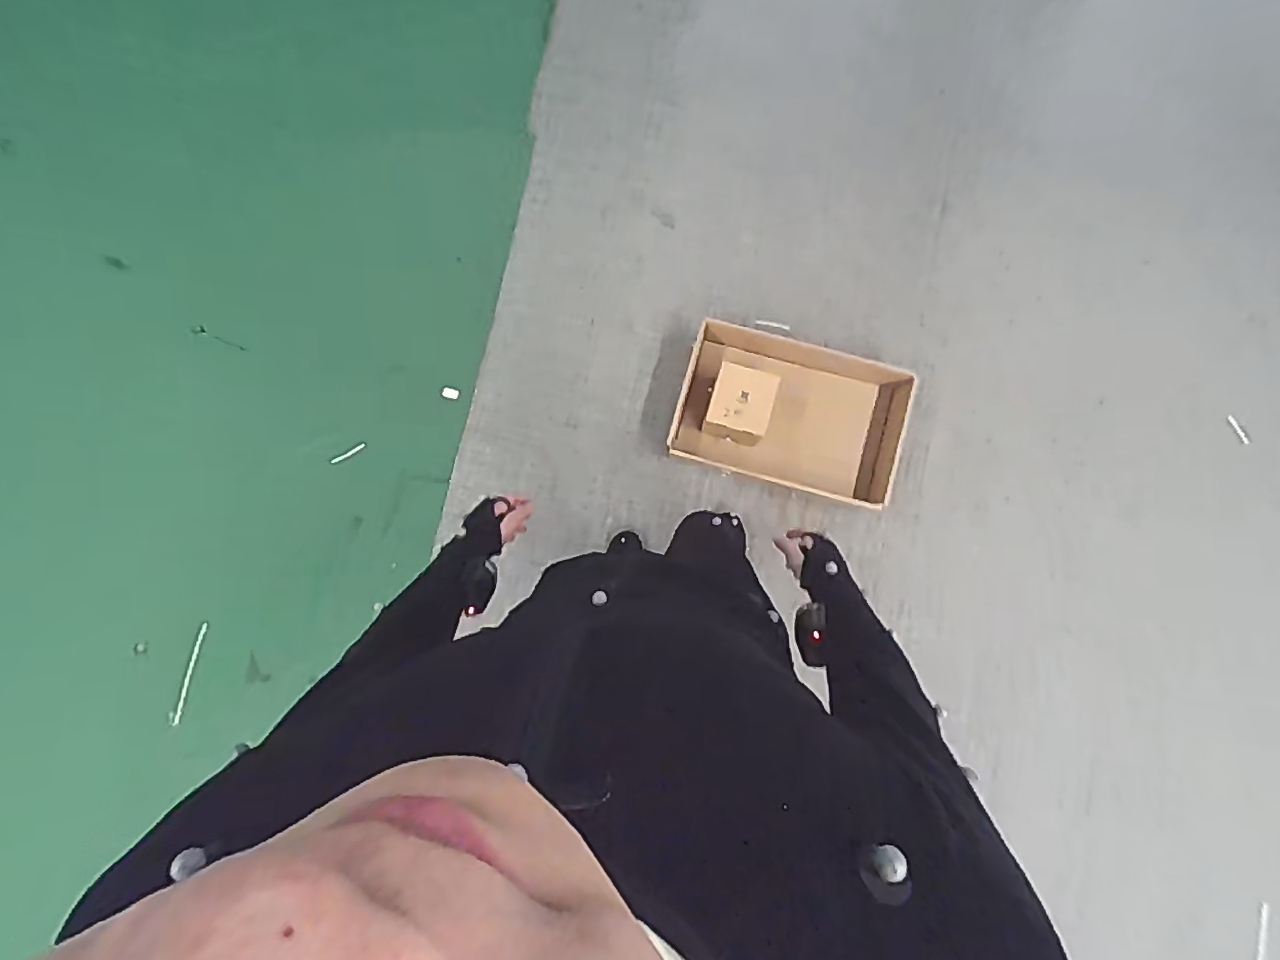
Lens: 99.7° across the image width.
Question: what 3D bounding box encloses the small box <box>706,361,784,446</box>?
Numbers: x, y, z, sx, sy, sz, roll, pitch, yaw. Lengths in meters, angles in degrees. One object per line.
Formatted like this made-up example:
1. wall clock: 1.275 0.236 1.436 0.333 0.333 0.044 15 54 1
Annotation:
1. small box: 0.290 -0.210 1.531 0.168 0.176 0.179 16 84 4
